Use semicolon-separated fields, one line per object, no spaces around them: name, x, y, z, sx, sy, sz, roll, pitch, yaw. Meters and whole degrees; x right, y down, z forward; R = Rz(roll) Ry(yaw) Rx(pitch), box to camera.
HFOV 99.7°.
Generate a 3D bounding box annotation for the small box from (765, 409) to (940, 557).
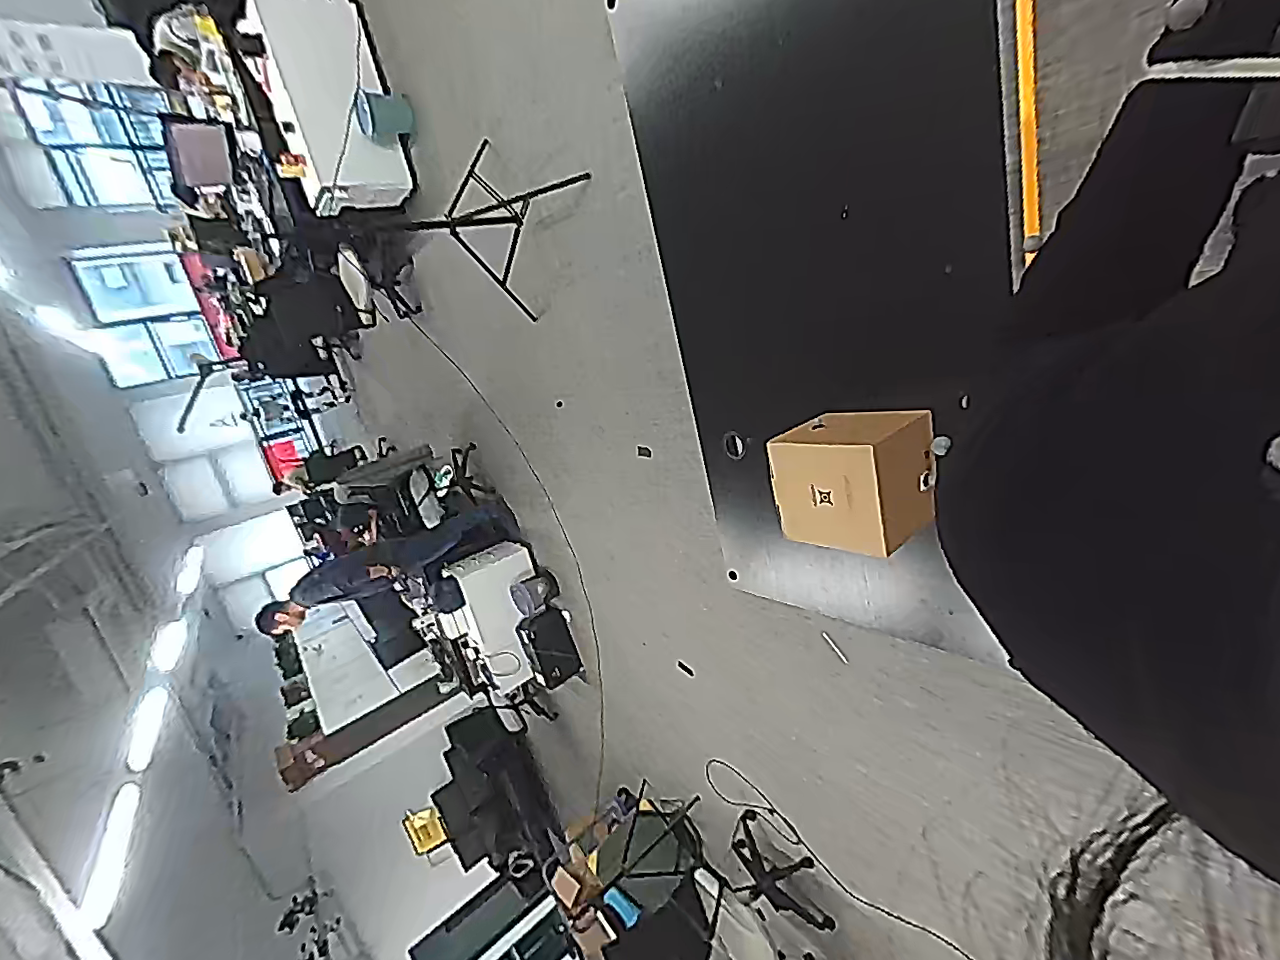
small box;0.322;-0.005;0.819;0.179;0.176;0.168;6;116;52
